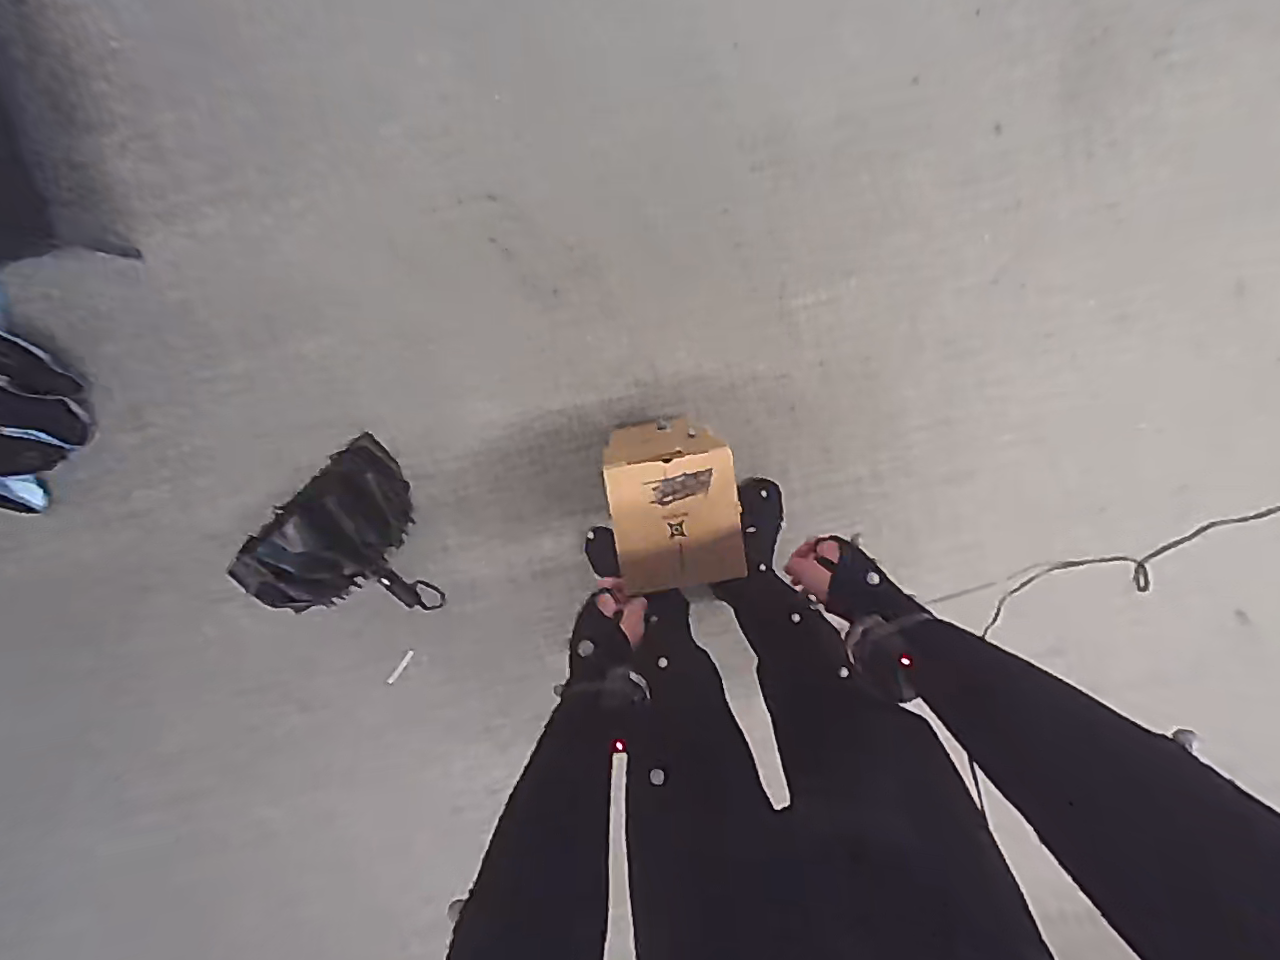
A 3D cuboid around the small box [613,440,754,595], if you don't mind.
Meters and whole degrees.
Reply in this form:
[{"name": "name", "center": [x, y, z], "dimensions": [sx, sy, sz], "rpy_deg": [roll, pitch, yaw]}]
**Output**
[{"name": "small box", "center": [0.054, 0.041, 0.771], "dimensions": [0.168, 0.176, 0.179], "rpy_deg": [-9, 101, 1]}]
